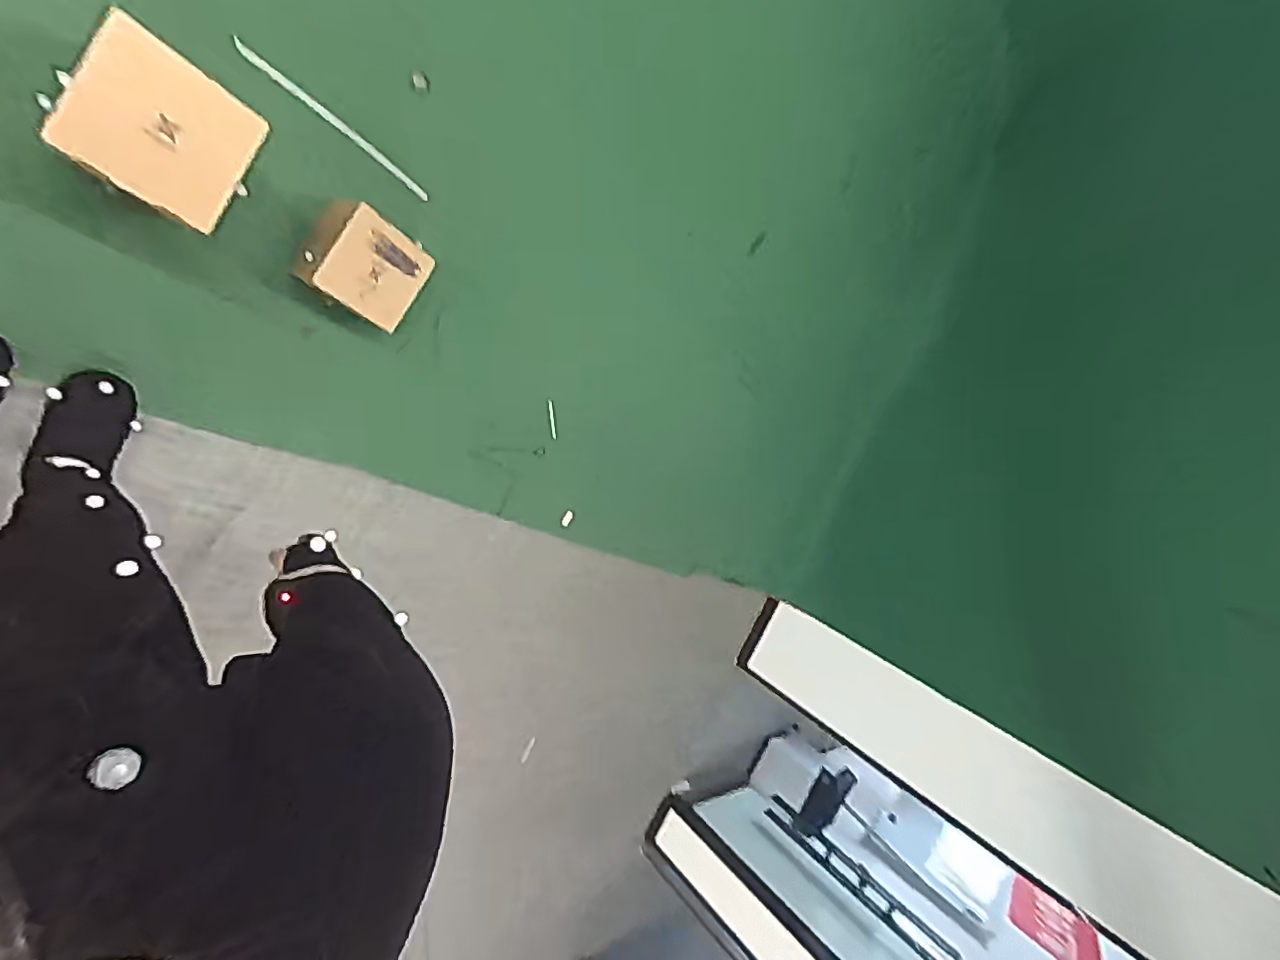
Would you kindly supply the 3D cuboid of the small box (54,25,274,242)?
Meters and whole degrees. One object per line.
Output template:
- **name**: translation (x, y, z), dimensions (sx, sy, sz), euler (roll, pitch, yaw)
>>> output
- **small box**: translation (-0.643, -0.455, 0.733), dimensions (0.168, 0.176, 0.179), euler (29, 89, -49)
